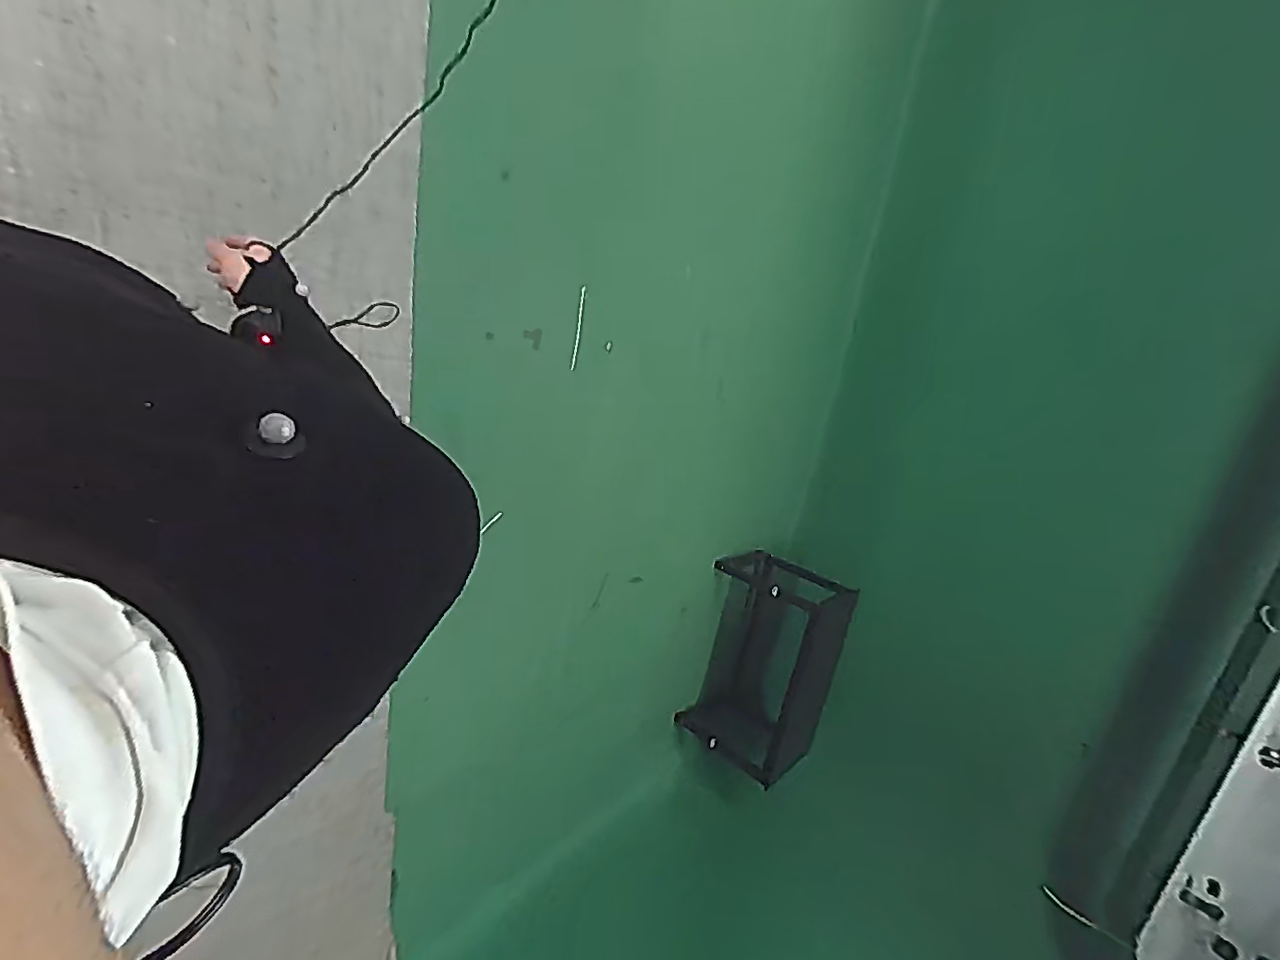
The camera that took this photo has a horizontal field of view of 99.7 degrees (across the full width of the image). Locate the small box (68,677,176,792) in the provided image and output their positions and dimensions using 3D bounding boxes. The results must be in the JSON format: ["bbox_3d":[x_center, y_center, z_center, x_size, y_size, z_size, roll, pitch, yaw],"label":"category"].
[{"bbox_3d":[-1.280,0.615,1.336,0.179,0.176,0.168,1,107,-49],"label":"small box"}]
